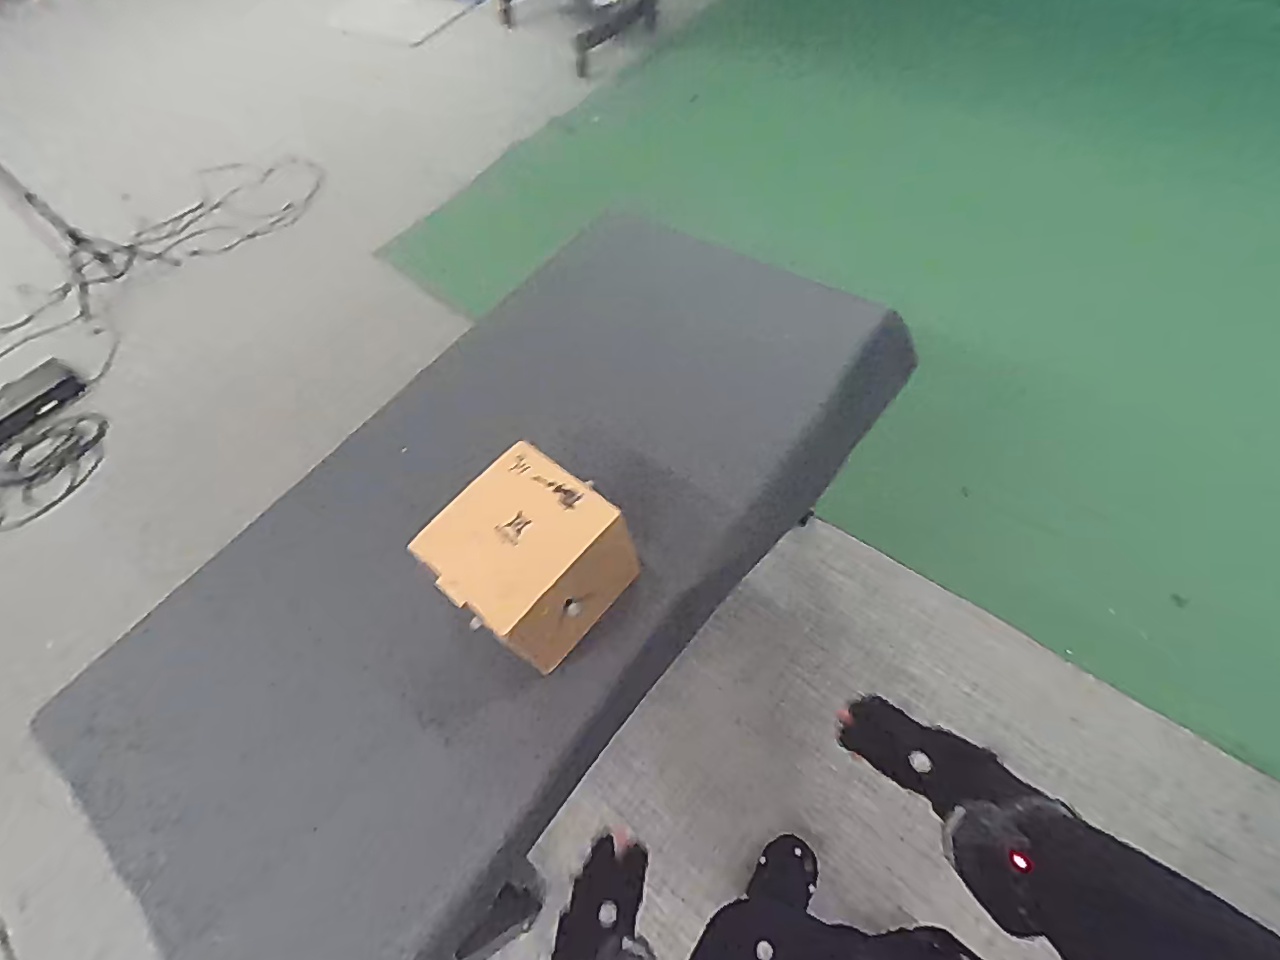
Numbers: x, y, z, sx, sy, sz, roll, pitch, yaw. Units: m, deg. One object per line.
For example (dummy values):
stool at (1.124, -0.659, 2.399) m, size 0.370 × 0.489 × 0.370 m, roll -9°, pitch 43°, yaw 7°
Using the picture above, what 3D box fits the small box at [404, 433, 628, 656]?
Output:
small box at (-0.133, 0.084, 0.649) m, size 0.168 × 0.176 × 0.179 m, roll 35°, pitch 72°, yaw 25°
